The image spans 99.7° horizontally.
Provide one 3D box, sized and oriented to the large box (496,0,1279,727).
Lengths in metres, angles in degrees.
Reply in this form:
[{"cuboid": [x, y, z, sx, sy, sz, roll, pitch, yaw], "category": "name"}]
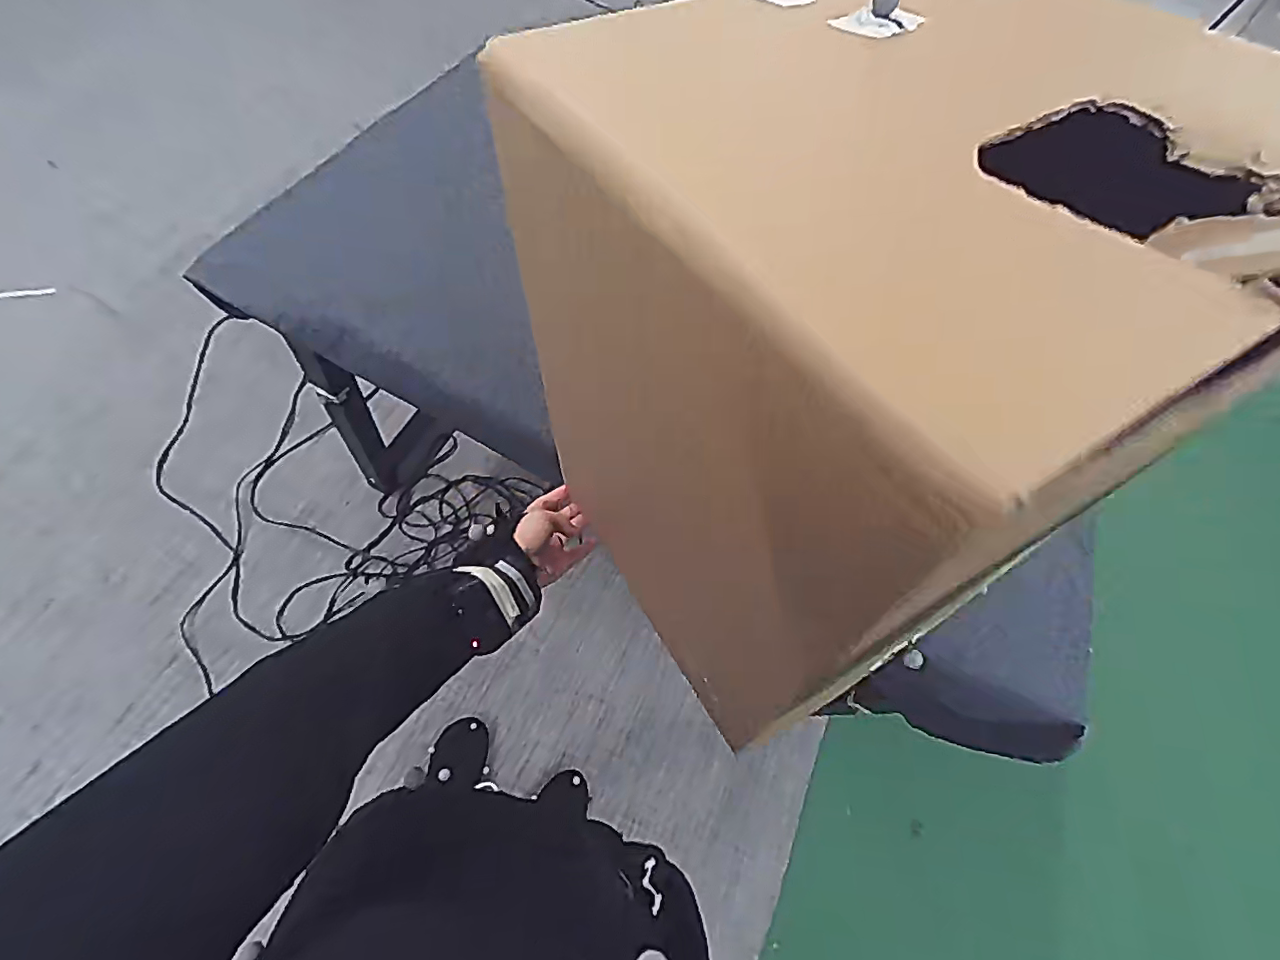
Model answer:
[{"cuboid": [0.132, -0.063, 0.415, 0.320, 0.408, 0.320, -28, 62, -16], "category": "large box"}]
